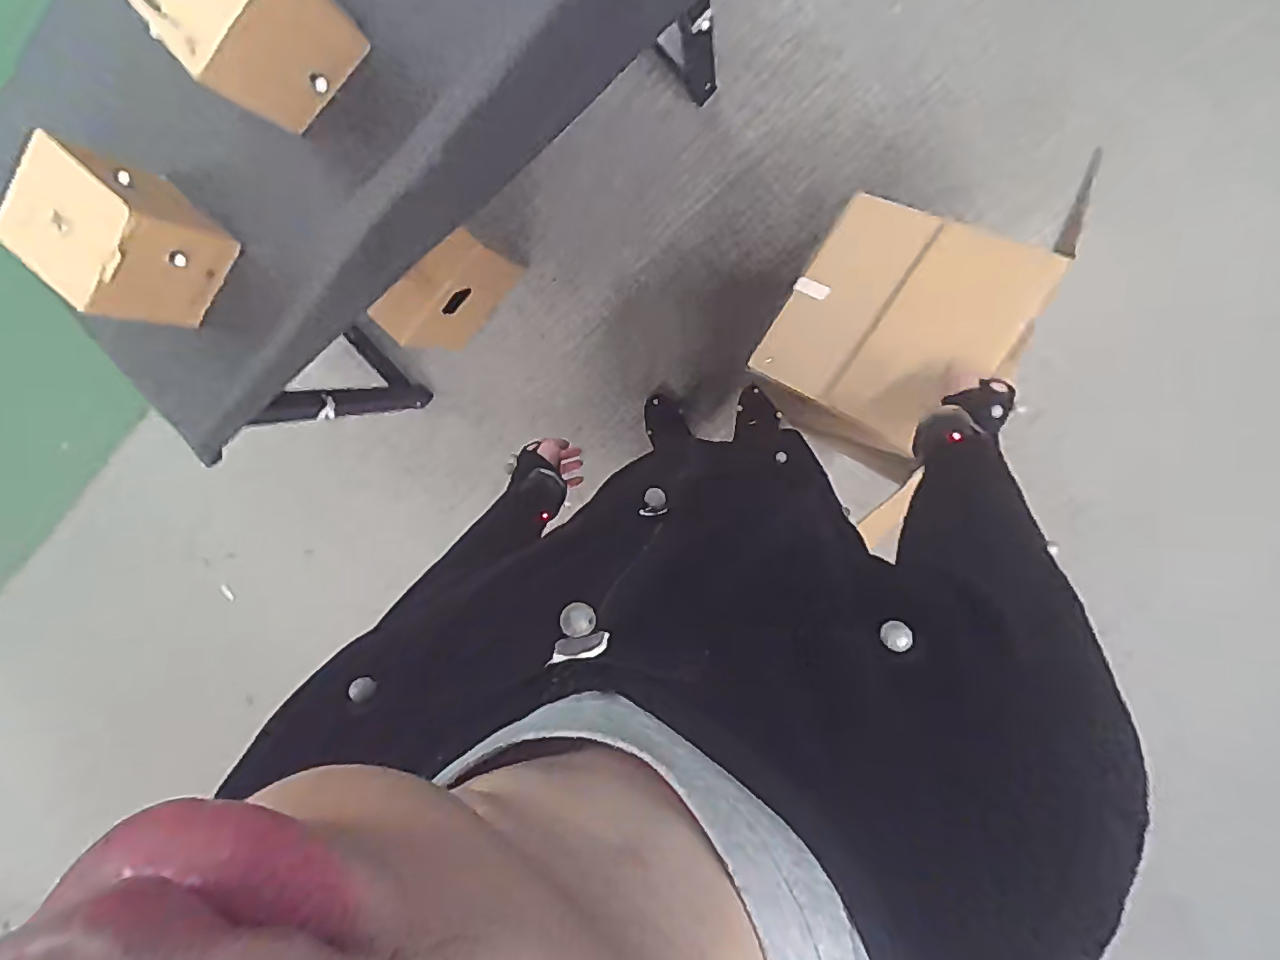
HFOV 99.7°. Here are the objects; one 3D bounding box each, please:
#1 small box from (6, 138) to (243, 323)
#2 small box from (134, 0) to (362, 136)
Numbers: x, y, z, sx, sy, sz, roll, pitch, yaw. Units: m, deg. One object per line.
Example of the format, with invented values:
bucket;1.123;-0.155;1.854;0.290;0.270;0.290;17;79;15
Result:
small box;-0.755;-0.354;0.810;0.179;0.176;0.168;41;102;3
small box;-0.509;-0.614;0.718;0.179;0.176;0.168;-39;92;13
